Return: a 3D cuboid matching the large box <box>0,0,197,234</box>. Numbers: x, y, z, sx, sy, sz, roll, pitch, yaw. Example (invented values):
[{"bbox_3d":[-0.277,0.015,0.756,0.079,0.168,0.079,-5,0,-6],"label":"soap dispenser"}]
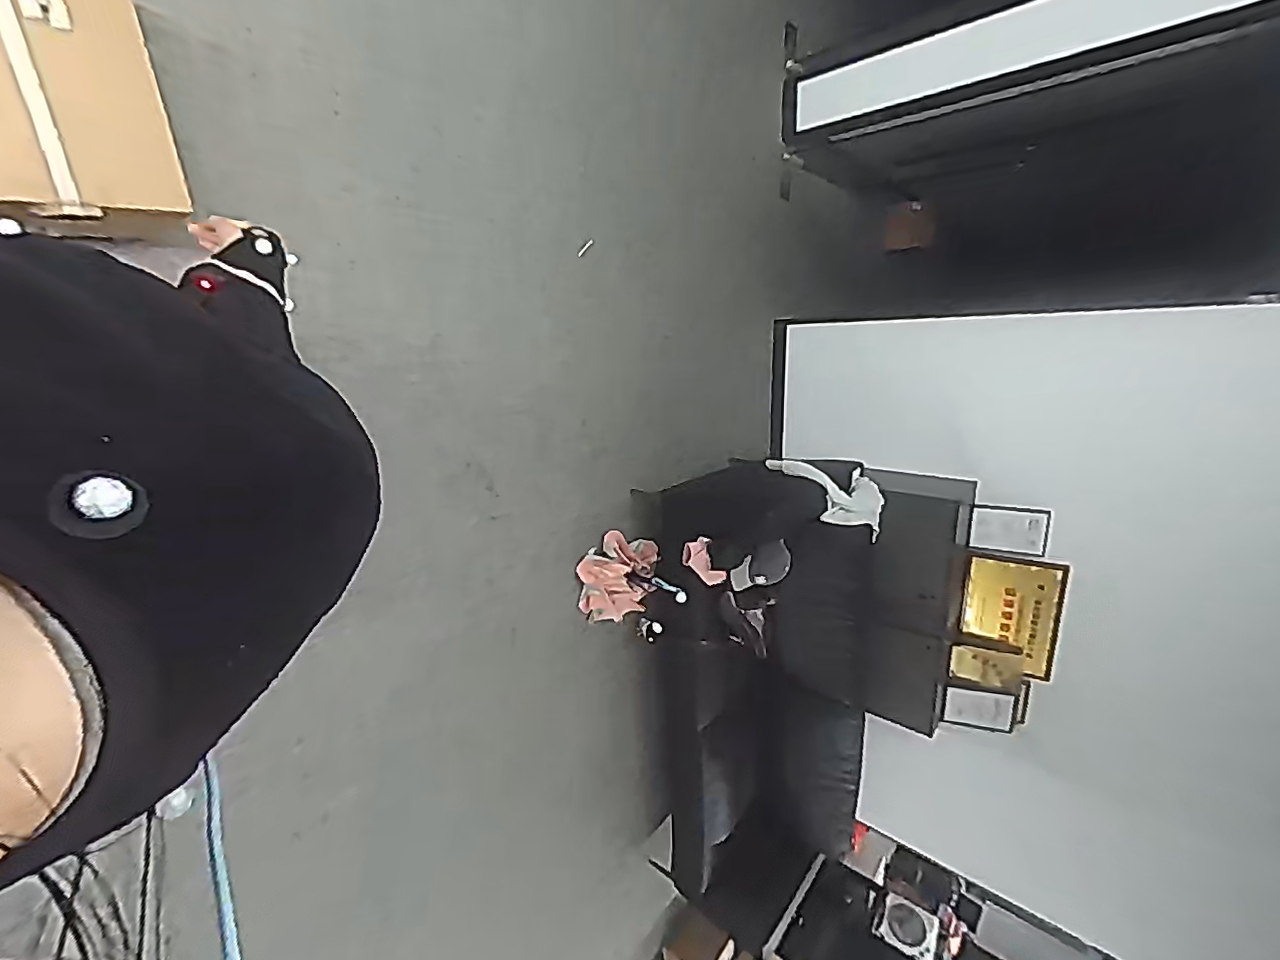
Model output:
[{"bbox_3d":[-0.994,-0.637,0.868,0.320,0.320,0.408,-23,114,-45],"label":"large box"}]
